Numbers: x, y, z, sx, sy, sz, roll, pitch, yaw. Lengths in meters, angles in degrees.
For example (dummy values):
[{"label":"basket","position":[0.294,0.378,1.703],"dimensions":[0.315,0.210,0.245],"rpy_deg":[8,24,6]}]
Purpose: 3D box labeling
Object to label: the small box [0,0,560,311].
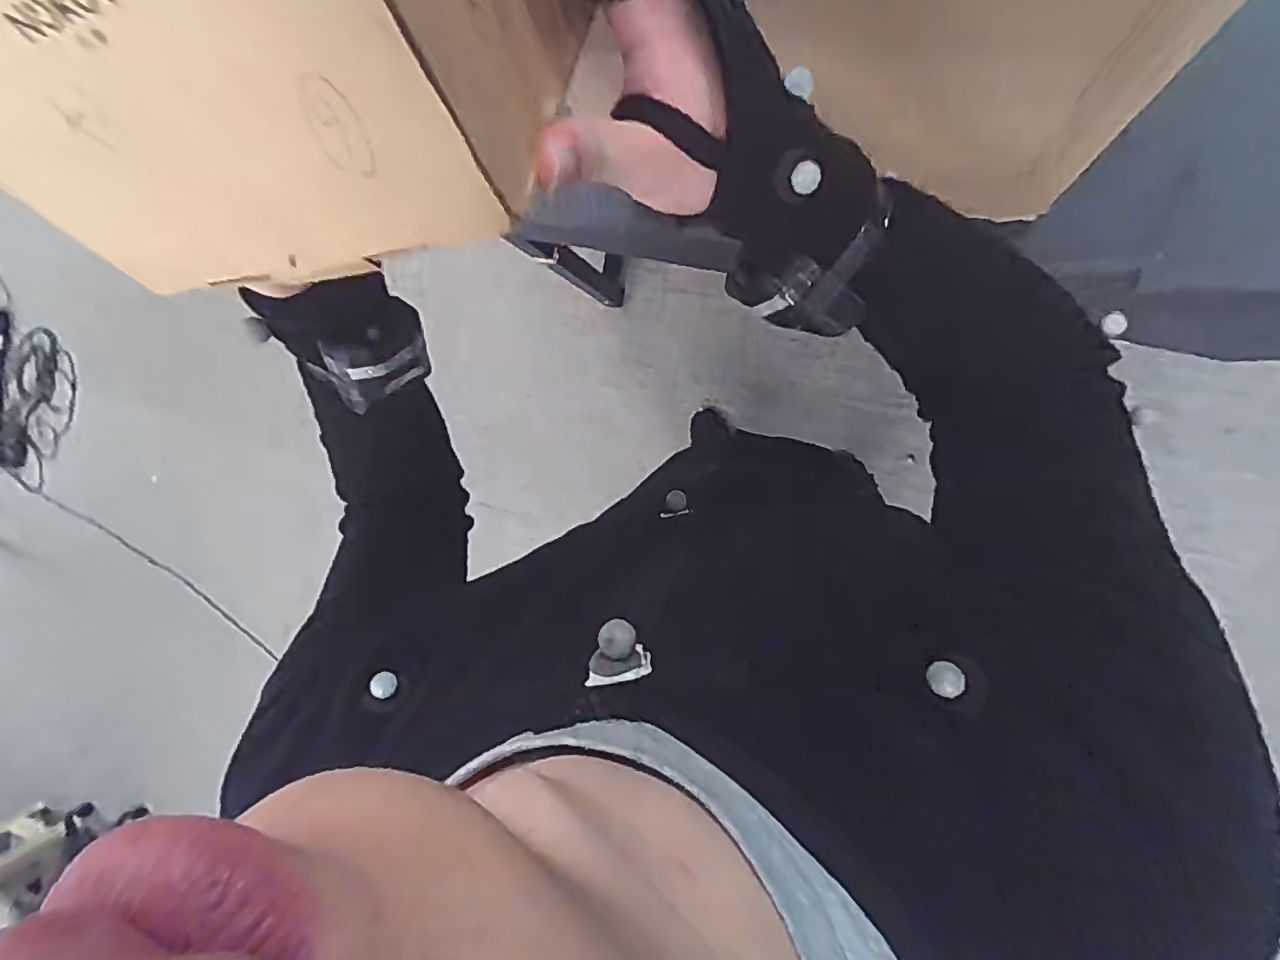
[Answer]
[{"label":"small box","position":[-0.137,-0.179,0.153],"dimensions":[0.168,0.179,0.176],"rpy_deg":[-2,62,19]}]
